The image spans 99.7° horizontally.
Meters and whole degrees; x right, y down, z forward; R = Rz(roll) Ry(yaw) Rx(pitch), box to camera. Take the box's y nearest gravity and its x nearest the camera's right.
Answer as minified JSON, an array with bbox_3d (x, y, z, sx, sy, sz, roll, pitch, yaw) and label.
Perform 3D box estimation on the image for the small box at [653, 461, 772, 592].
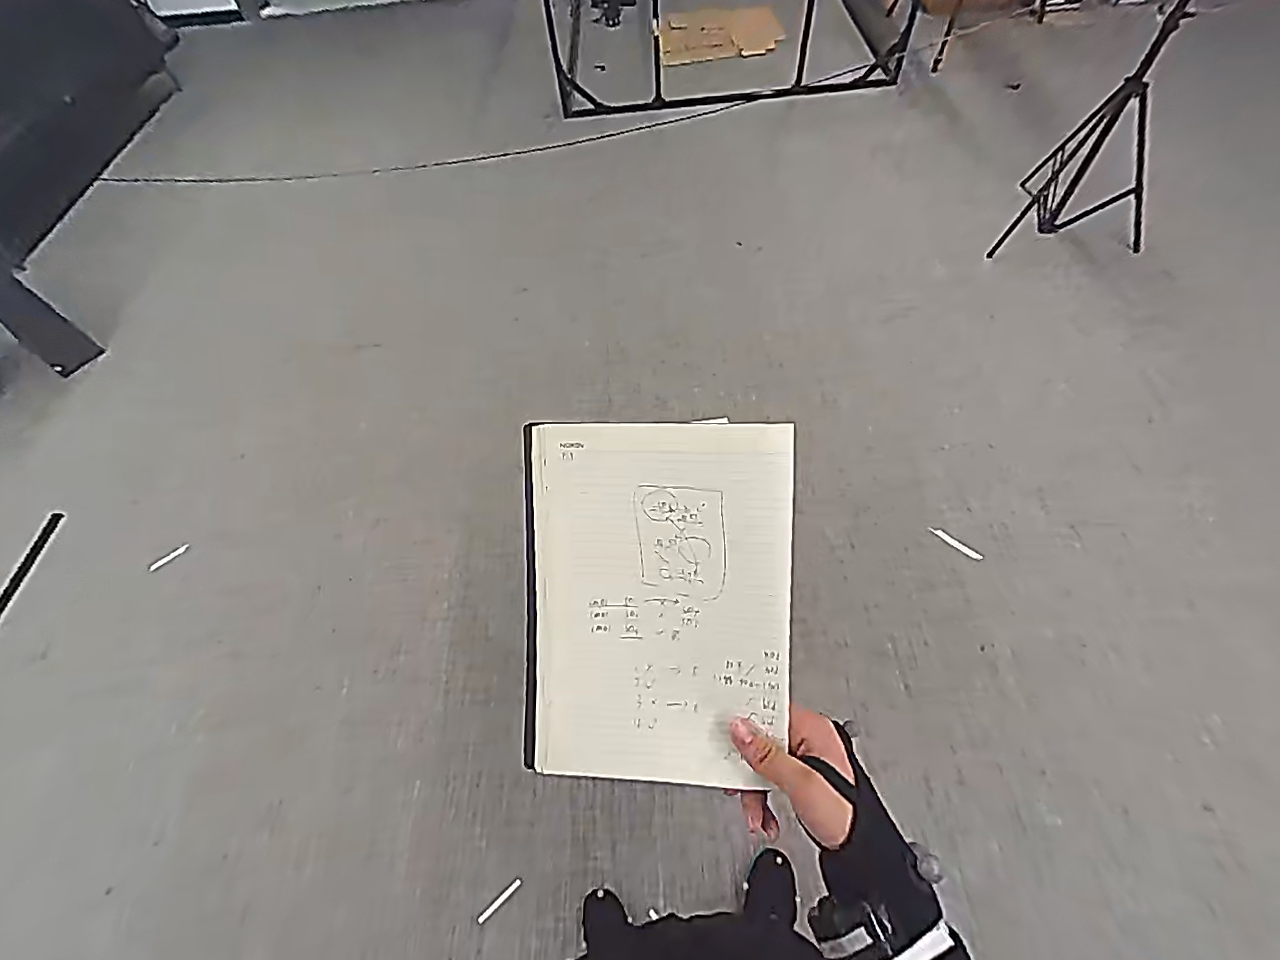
[{"bbox_3d":[0.129,0.092,1.021,0.179,0.176,0.168,-14,57,-3],"label":"small box"}]
